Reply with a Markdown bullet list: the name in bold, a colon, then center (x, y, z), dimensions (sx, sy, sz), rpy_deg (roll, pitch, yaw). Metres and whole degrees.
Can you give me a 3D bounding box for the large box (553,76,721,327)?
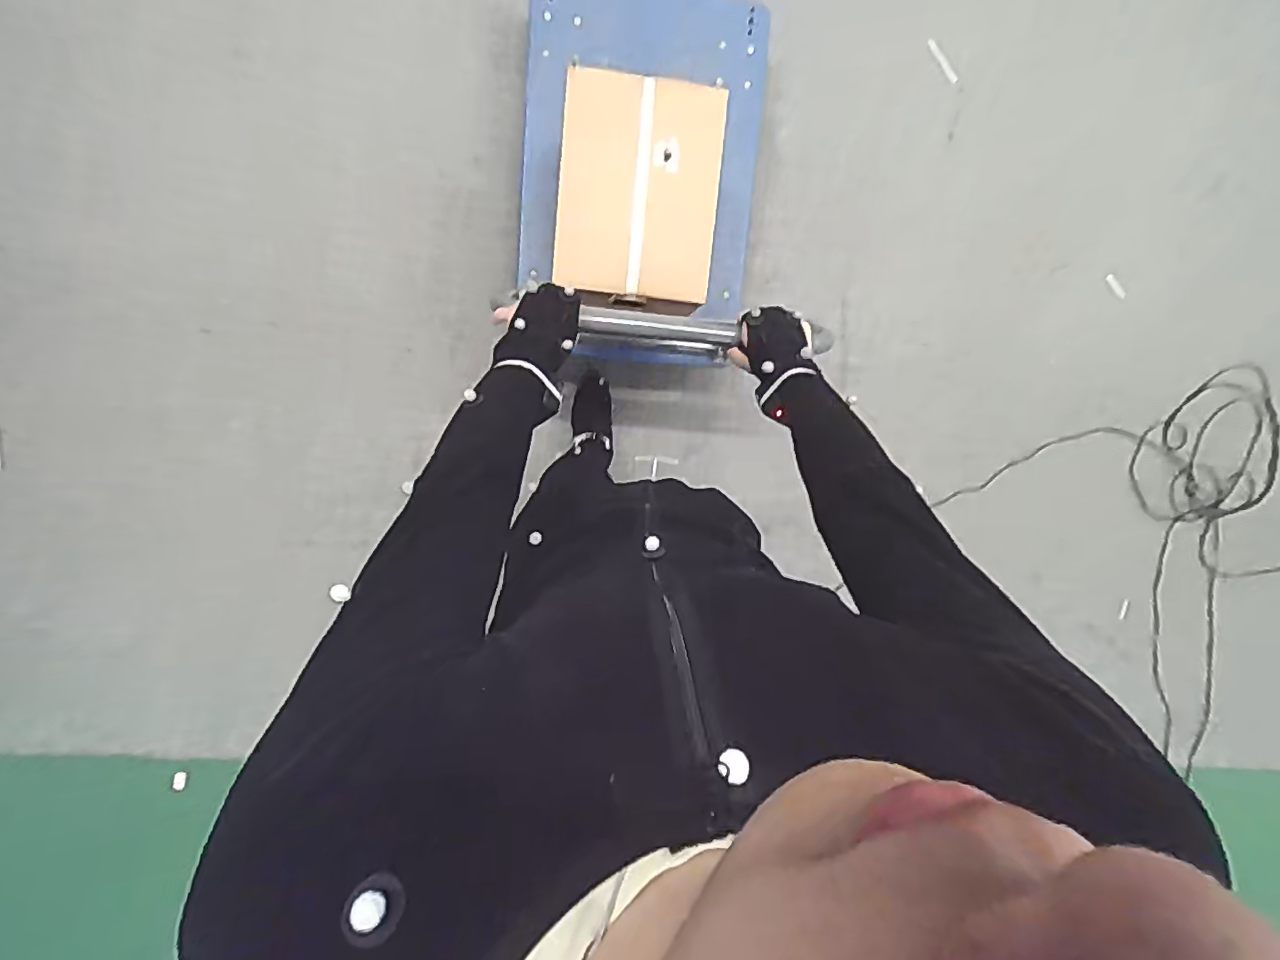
- **large box**: center (-0.020, -0.584, 1.218), dimensions (0.320, 0.320, 0.408), rpy_deg (5, 95, -7)
